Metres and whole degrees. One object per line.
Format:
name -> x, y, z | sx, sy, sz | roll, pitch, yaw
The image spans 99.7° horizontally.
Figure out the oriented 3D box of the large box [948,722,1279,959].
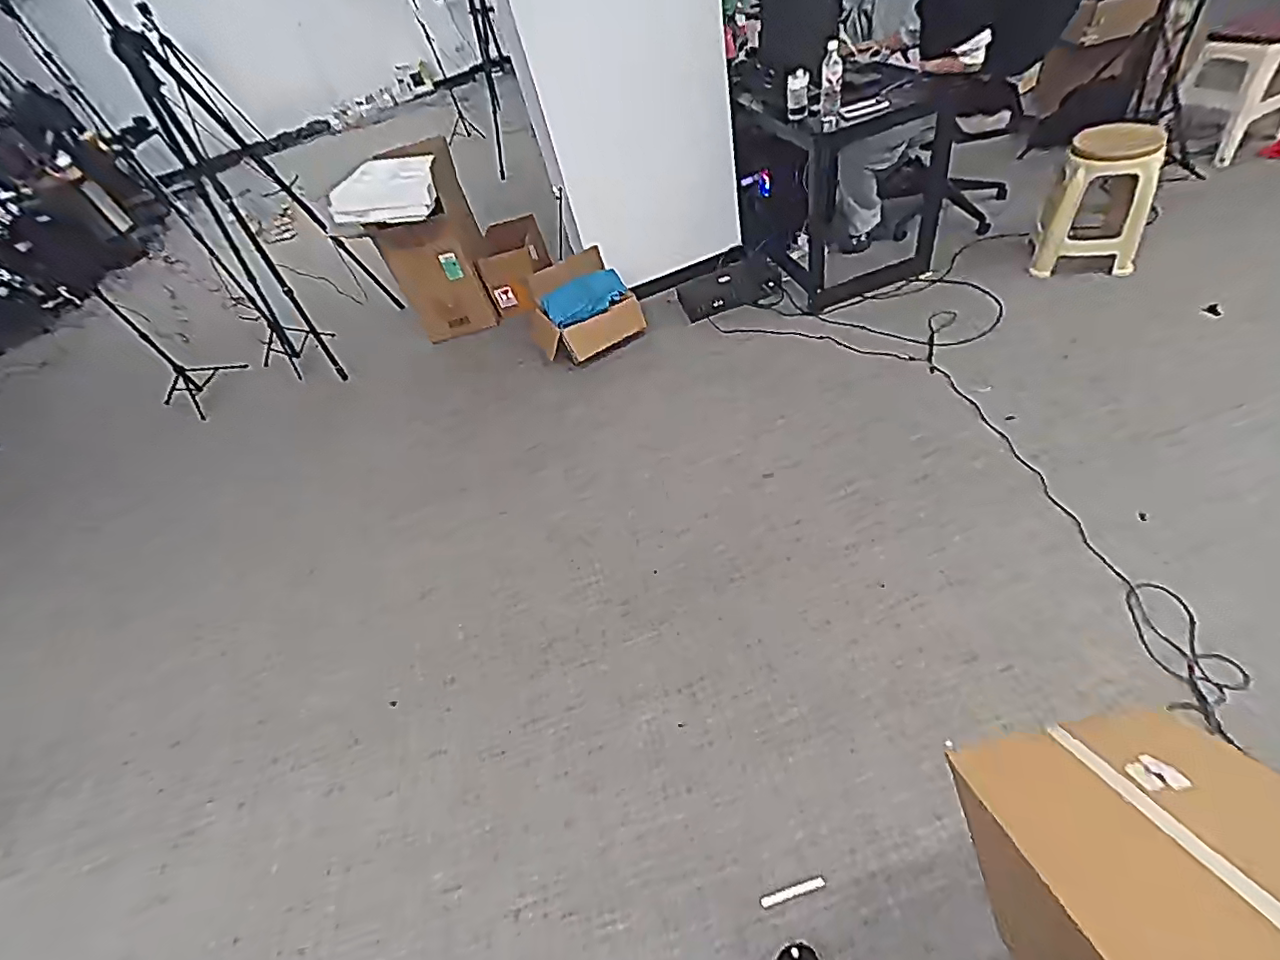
large box -> 0.645, 0.555, 0.629 | 0.320, 0.320, 0.408 | -15, 1, 7
